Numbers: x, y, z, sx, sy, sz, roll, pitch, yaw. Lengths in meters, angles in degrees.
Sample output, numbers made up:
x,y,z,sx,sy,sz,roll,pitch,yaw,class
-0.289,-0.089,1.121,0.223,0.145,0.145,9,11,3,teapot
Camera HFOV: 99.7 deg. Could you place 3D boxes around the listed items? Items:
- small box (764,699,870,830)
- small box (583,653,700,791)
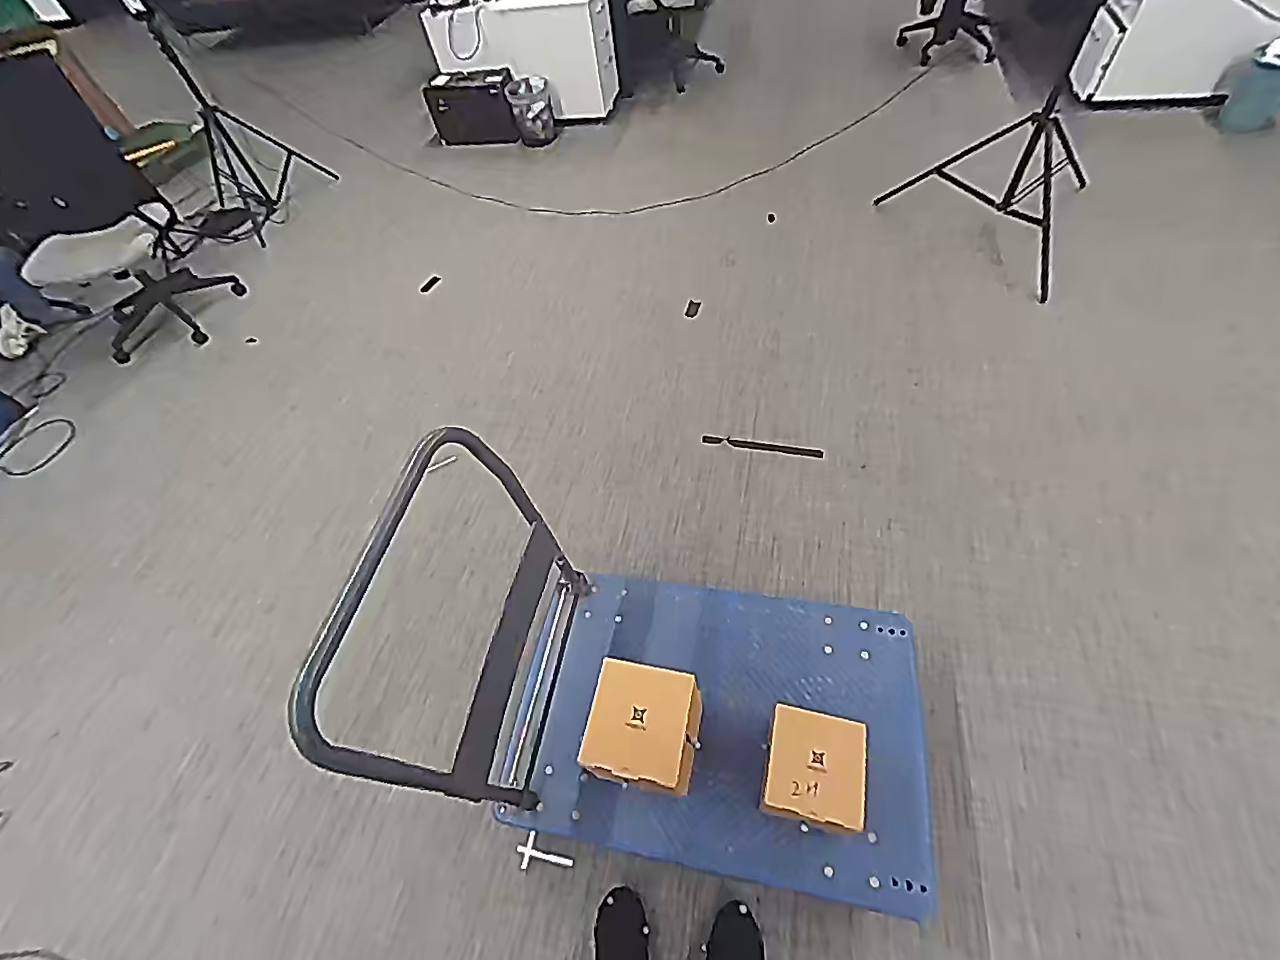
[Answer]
x,y,z,sx,sy,sz,roll,pitch,yaw,class
0.333,0.546,1.036,0.168,0.176,0.179,8,57,15,small box
0.013,0.433,0.963,0.168,0.176,0.179,7,58,13,small box
